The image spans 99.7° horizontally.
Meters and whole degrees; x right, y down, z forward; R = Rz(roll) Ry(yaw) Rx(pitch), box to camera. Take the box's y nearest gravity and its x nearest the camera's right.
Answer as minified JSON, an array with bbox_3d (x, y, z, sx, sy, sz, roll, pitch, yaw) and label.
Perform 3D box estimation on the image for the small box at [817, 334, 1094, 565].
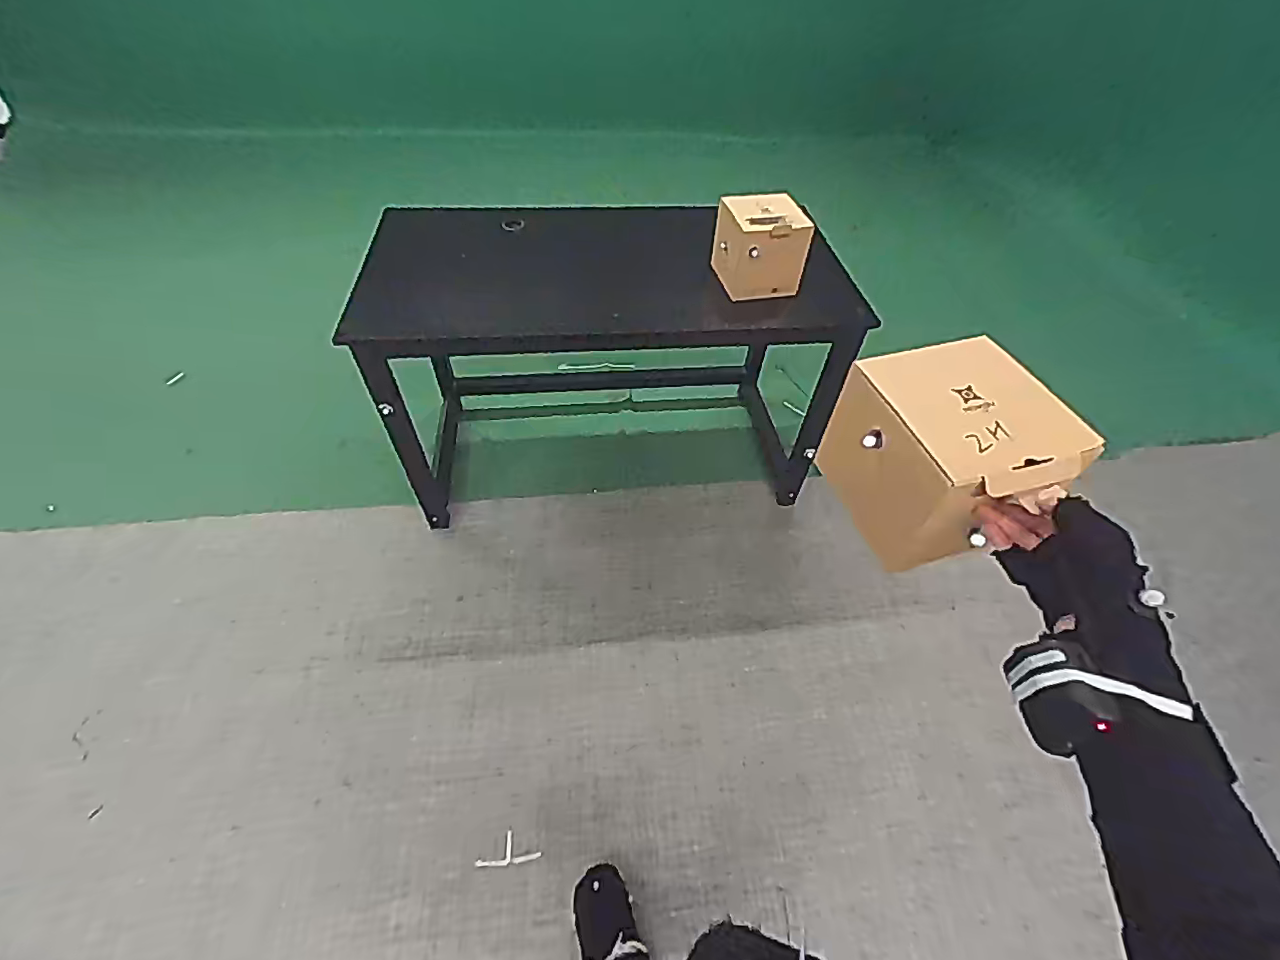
[{"bbox_3d":[0.323,-0.033,0.603,0.168,0.176,0.179,-12,54,-10],"label":"small box"}]
